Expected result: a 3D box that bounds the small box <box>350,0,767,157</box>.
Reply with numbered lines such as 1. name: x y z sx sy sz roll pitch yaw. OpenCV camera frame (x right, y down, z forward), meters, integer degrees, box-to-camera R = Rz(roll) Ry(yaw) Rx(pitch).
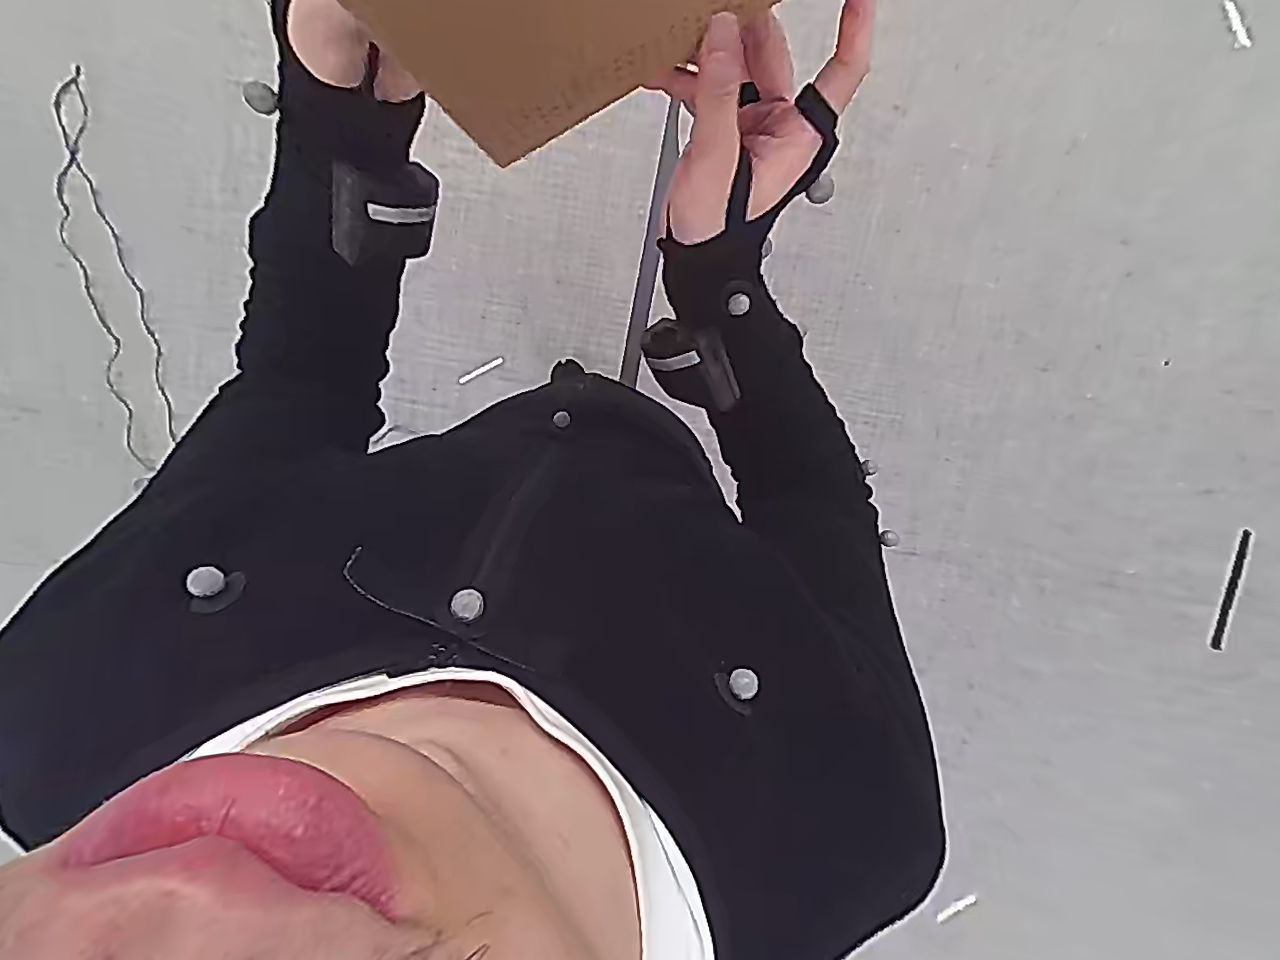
1. small box: -0.037 -0.253 0.177 0.179 0.176 0.168 -27 96 12
